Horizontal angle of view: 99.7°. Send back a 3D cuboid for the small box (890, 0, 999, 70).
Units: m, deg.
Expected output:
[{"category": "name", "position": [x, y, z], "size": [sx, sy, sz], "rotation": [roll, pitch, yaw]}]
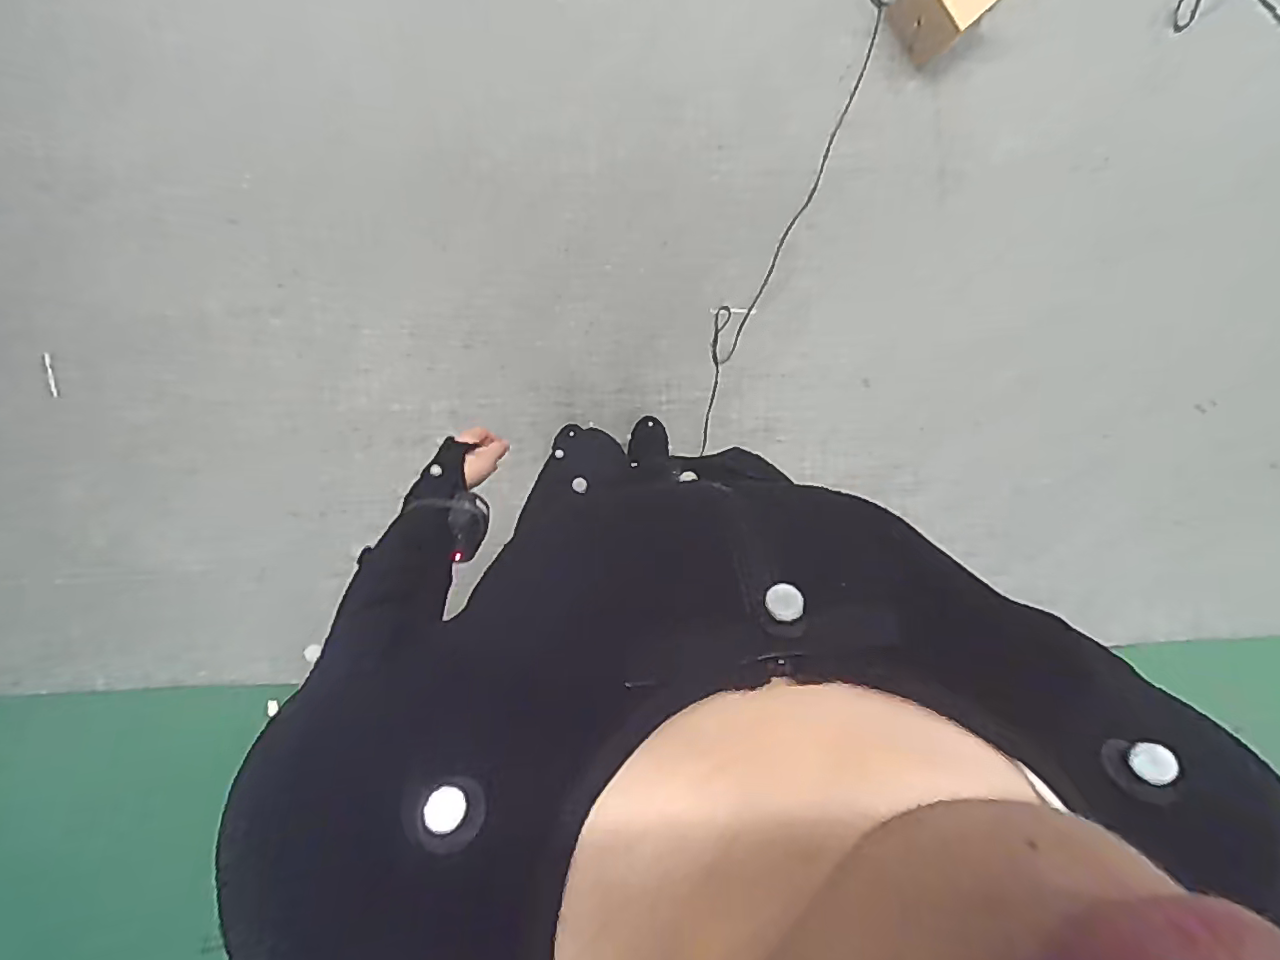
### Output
[{"category": "small box", "position": [0.708, -1.106, 1.241], "size": [0.179, 0.176, 0.168], "rotation": [-40, 99, 4]}]
